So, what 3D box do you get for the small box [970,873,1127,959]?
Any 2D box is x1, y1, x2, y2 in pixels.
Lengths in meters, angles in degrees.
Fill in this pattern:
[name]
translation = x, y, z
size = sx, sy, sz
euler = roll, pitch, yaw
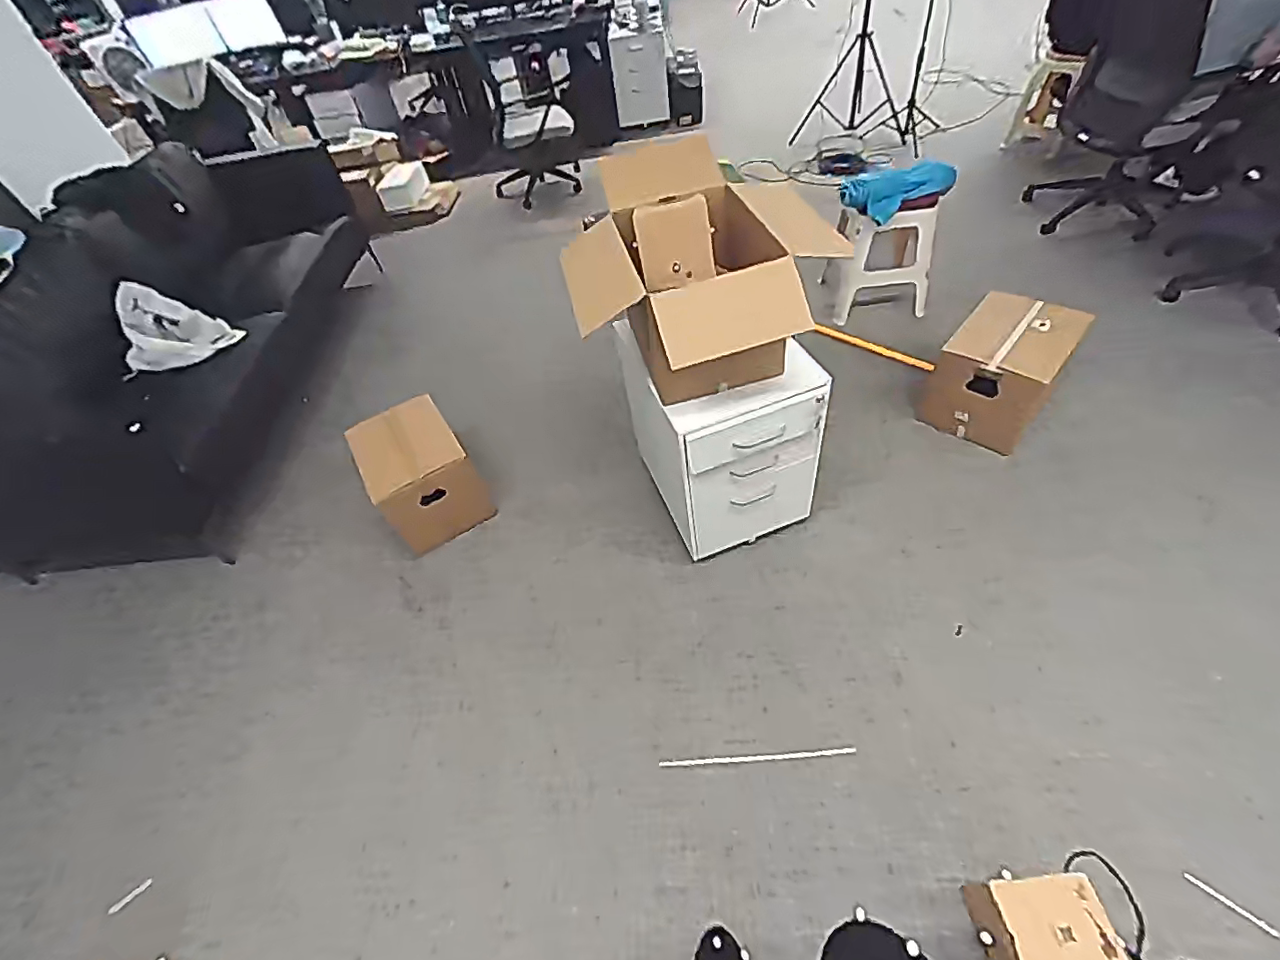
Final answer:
[small box]
translation = 0.738, 0.837, 0.992
size = 0.179, 0.176, 0.168
euler = -9, 49, 4
